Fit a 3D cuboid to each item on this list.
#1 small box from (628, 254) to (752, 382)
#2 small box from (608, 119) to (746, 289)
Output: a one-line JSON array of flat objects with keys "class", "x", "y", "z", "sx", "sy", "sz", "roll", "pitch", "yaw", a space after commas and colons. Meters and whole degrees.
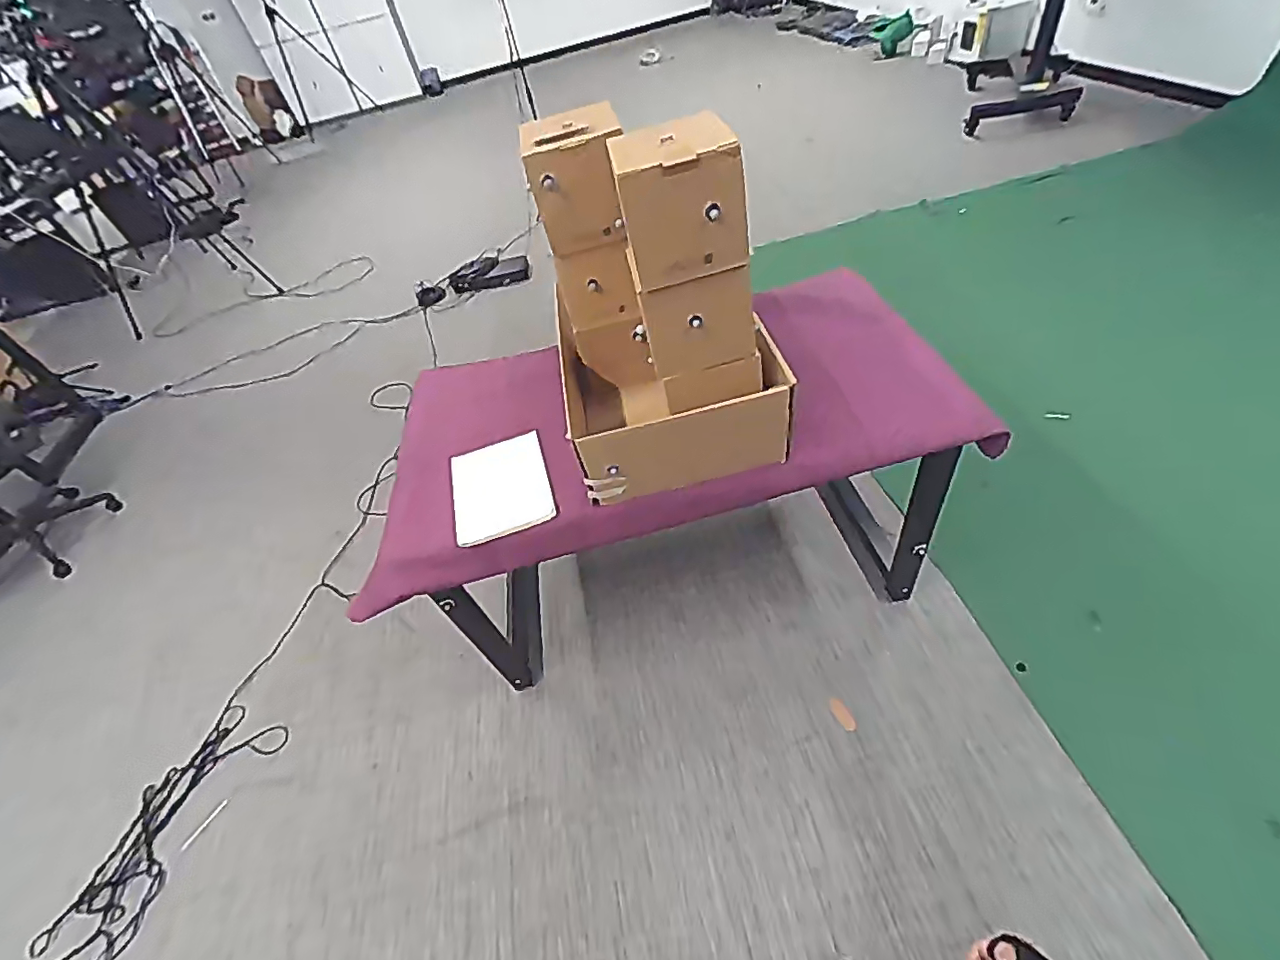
[{"class": "small box", "x": 0.089, "y": -0.296, "z": 0.927, "sx": 0.179, "sy": 0.176, "sz": 0.168, "roll": -14, "pitch": 45, "yaw": 5}, {"class": "small box", "x": 0.056, "y": -0.405, "z": 0.810, "sx": 0.168, "sy": 0.176, "sz": 0.179, "roll": -13, "pitch": 44, "yaw": 4}]
